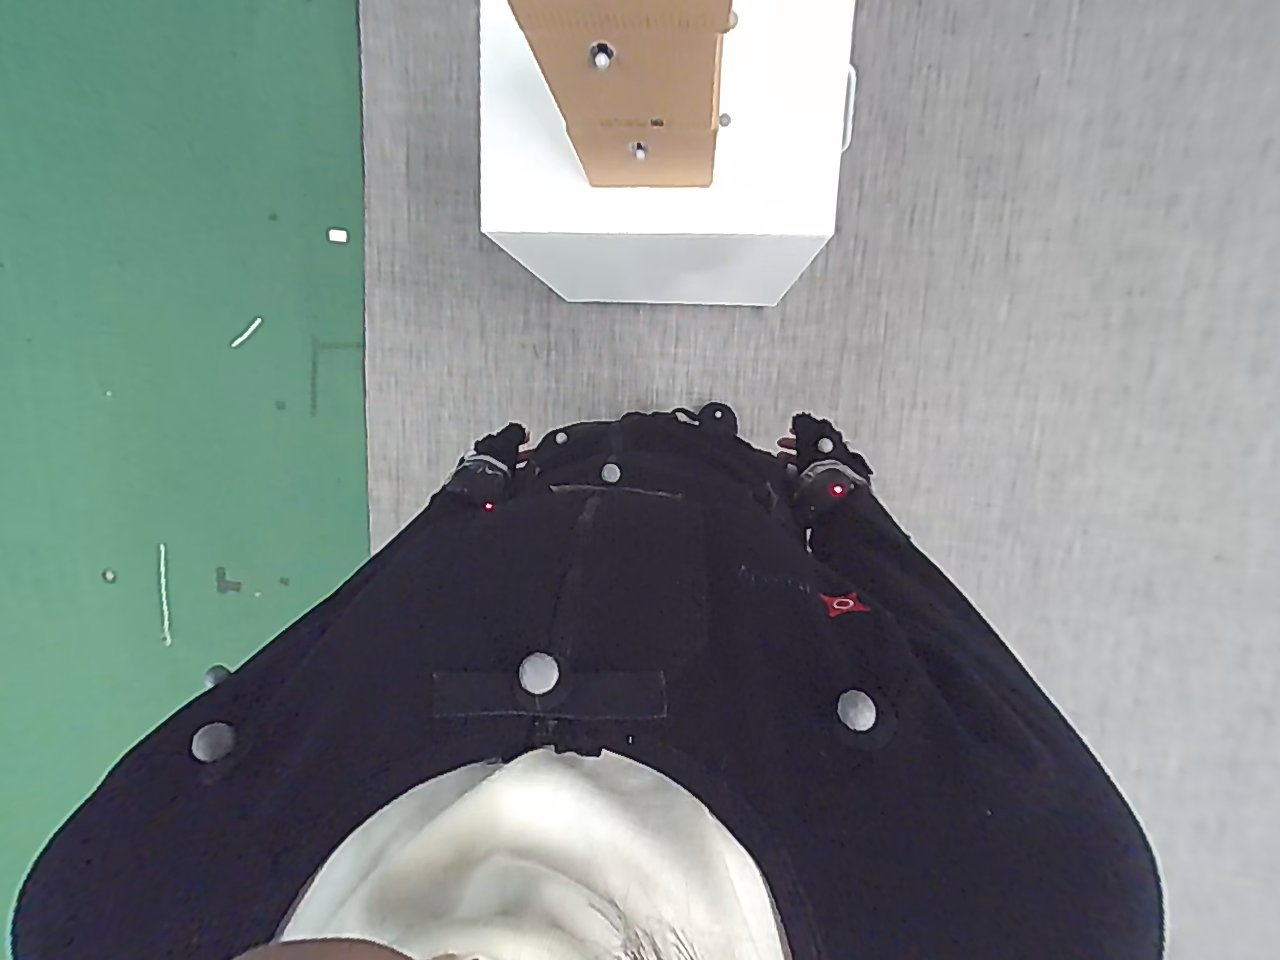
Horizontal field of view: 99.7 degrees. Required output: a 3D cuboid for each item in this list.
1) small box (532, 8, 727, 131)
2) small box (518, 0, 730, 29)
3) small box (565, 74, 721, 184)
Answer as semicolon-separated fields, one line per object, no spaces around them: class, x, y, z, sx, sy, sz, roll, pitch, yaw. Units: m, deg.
small box;-0.002;-0.471;0.520;0.168;0.176;0.179;2;99;5
small box;-0.017;-0.442;0.356;0.179;0.176;0.168;5;99;5
small box;0.012;-0.490;0.679;0.179;0.176;0.168;3;99;5
